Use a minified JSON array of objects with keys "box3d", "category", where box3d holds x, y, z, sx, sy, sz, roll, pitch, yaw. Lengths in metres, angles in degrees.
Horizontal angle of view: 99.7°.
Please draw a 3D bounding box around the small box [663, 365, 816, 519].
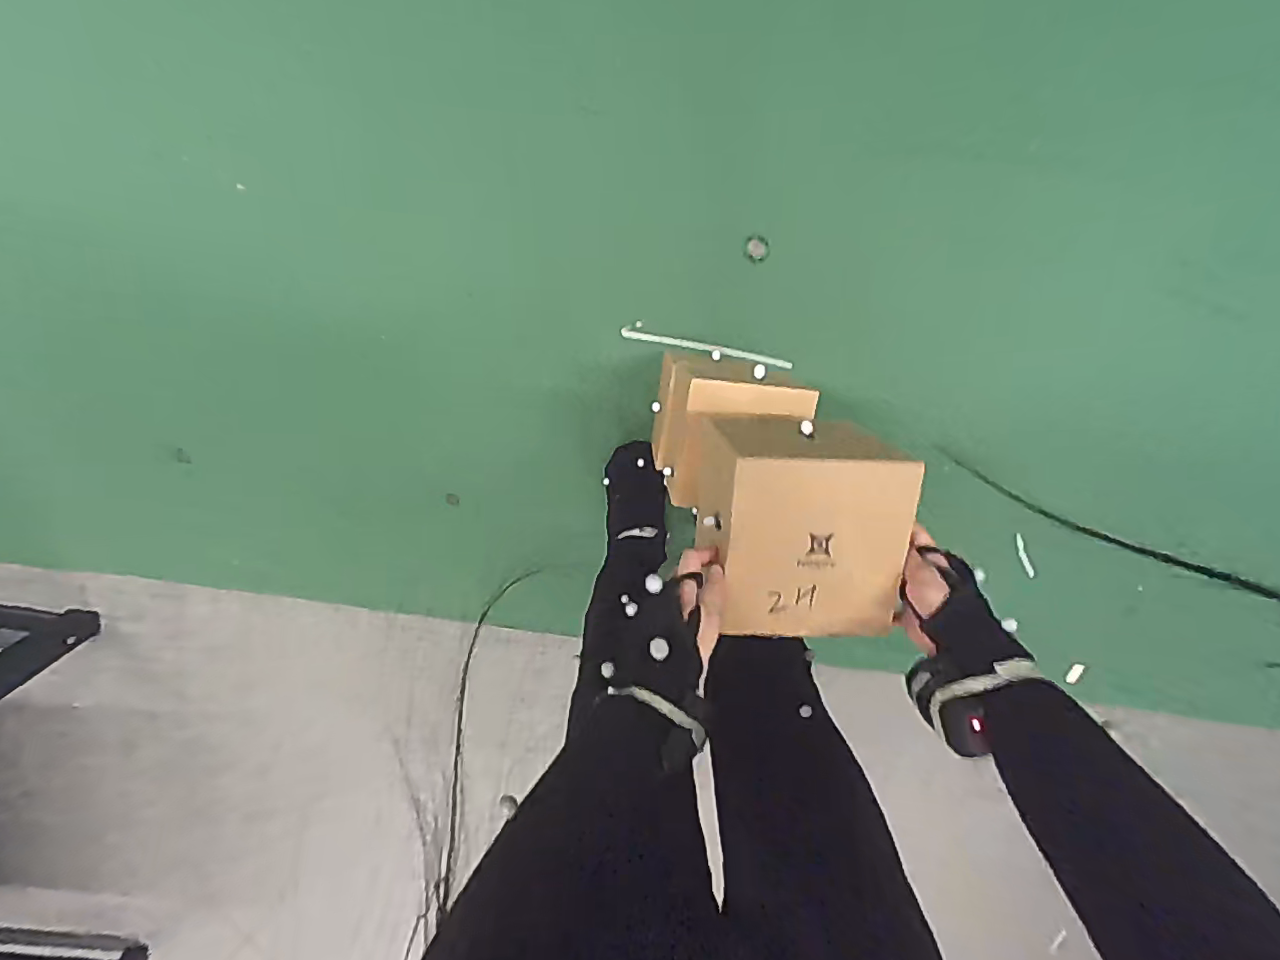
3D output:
[{"box3d":[0.128,-0.062,0.776,0.168,0.176,0.179,6,110,-5],"category":"small box"}]
